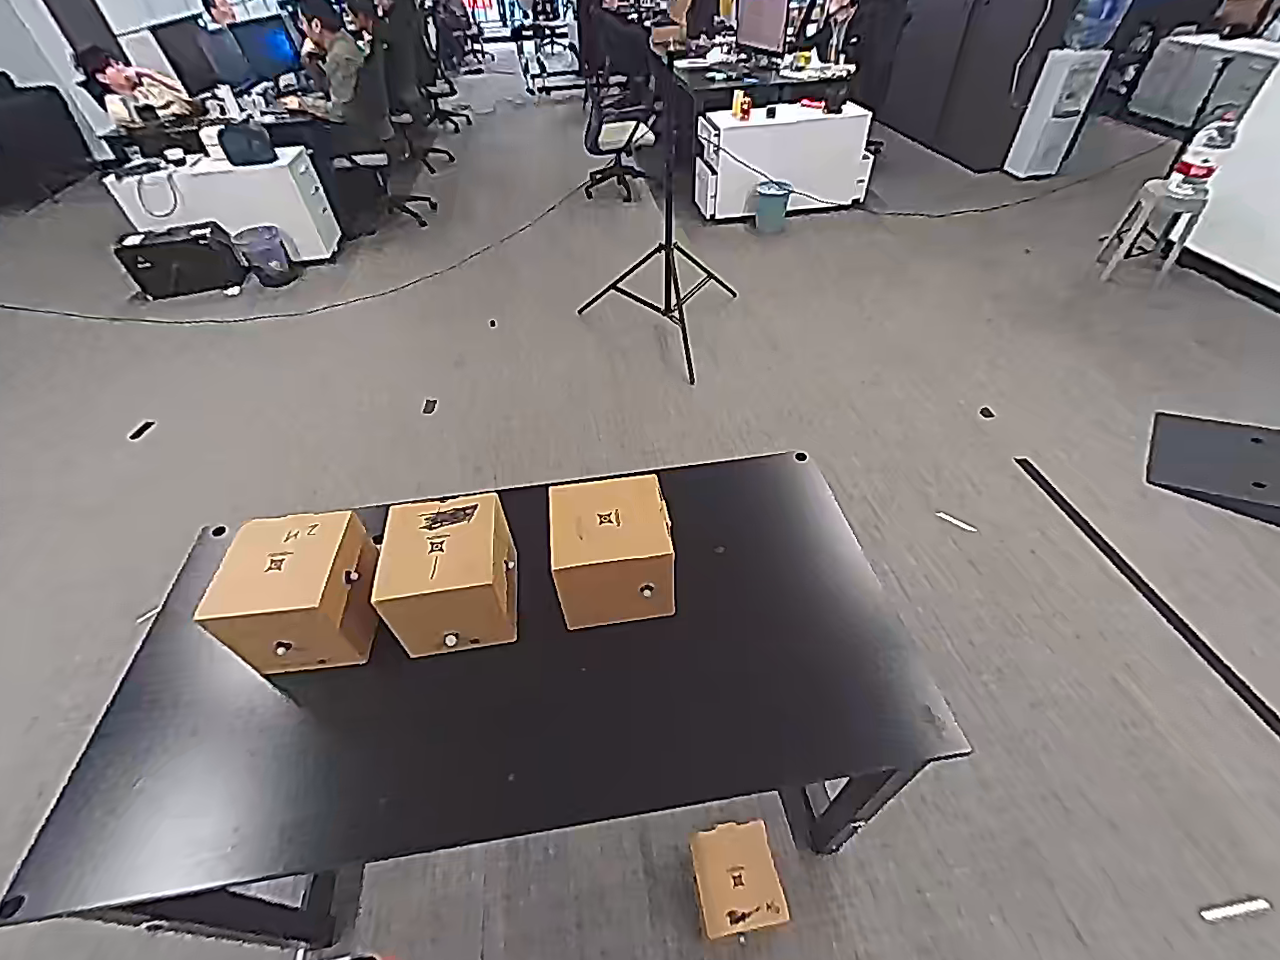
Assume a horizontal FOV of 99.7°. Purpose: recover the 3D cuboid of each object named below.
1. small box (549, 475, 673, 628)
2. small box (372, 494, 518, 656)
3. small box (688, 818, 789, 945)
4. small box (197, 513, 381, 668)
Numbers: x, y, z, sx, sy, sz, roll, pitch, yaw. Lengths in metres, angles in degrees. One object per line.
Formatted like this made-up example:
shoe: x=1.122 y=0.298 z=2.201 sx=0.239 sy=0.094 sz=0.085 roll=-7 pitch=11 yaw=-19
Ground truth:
small box: x=-0.046 y=0.117 z=0.869 sx=0.179 sy=0.176 sz=0.168 roll=-9 pitch=44 yaw=-4
small box: x=-0.291 y=0.149 z=0.848 sx=0.168 sy=0.176 sz=0.179 roll=-8 pitch=46 yaw=-5
small box: x=0.199 y=0.854 z=1.149 sx=0.168 sy=0.176 sz=0.179 roll=-9 pitch=45 yaw=-4
small box: x=-0.514 y=0.175 z=0.834 sx=0.168 sy=0.176 sz=0.179 roll=-5 pitch=45 yaw=-3
